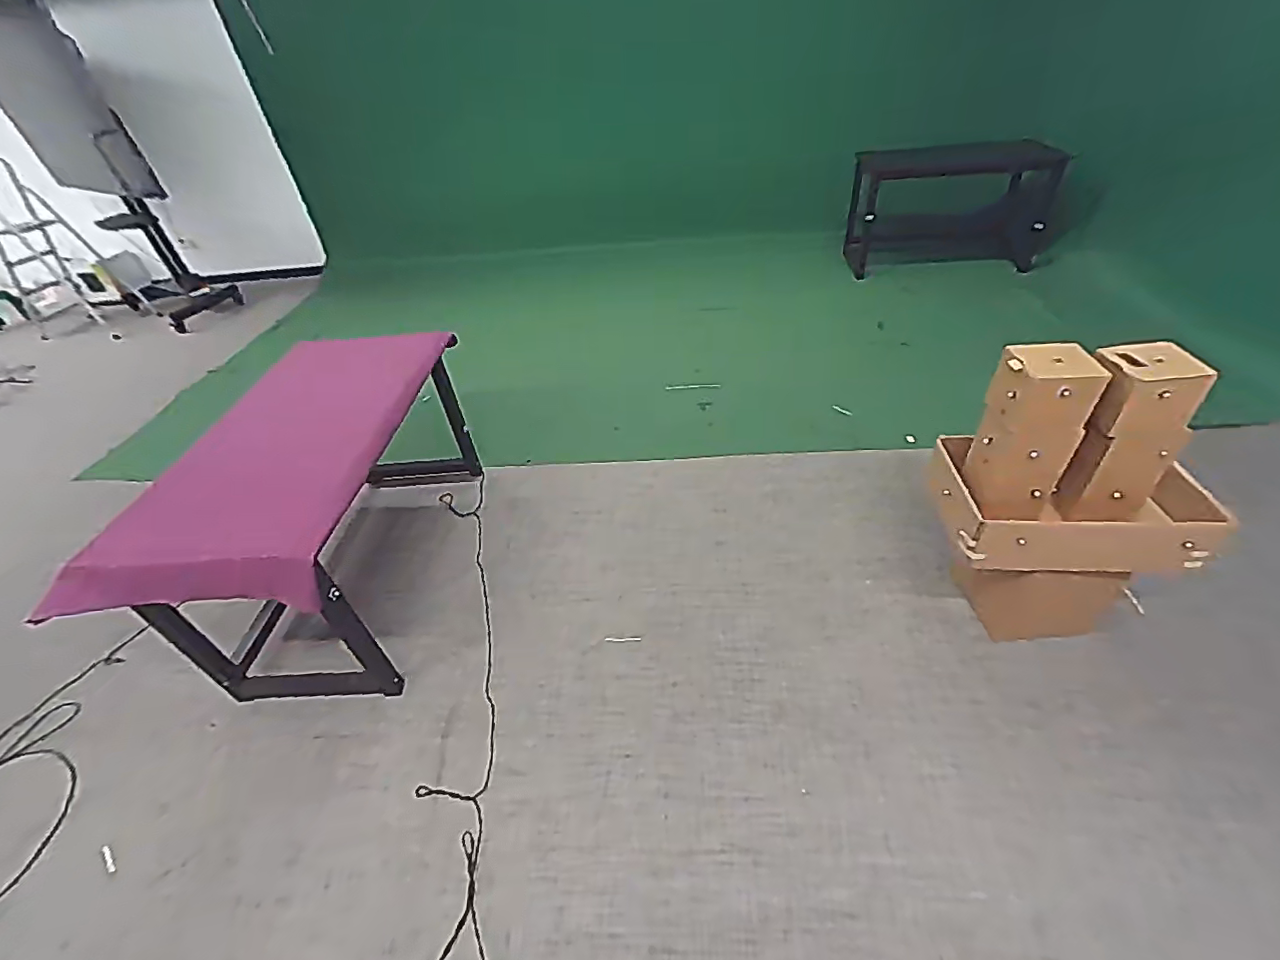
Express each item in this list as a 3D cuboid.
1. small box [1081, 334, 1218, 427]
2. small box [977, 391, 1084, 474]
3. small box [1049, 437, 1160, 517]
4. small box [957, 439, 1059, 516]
[{"bbox_3d":[1.264,-0.248,1.366,0.179,0.176,0.168,-5,41,6],"label":"small box"},{"bbox_3d":[1.068,-0.130,1.502,0.179,0.176,0.168,-1,42,8],"label":"small box"},{"bbox_3d":[1.335,-0.006,1.578,0.179,0.176,0.168,-4,41,9],"label":"small box"},{"bbox_3d":[1.084,-0.007,1.608,0.179,0.176,0.168,0,41,7],"label":"small box"}]
